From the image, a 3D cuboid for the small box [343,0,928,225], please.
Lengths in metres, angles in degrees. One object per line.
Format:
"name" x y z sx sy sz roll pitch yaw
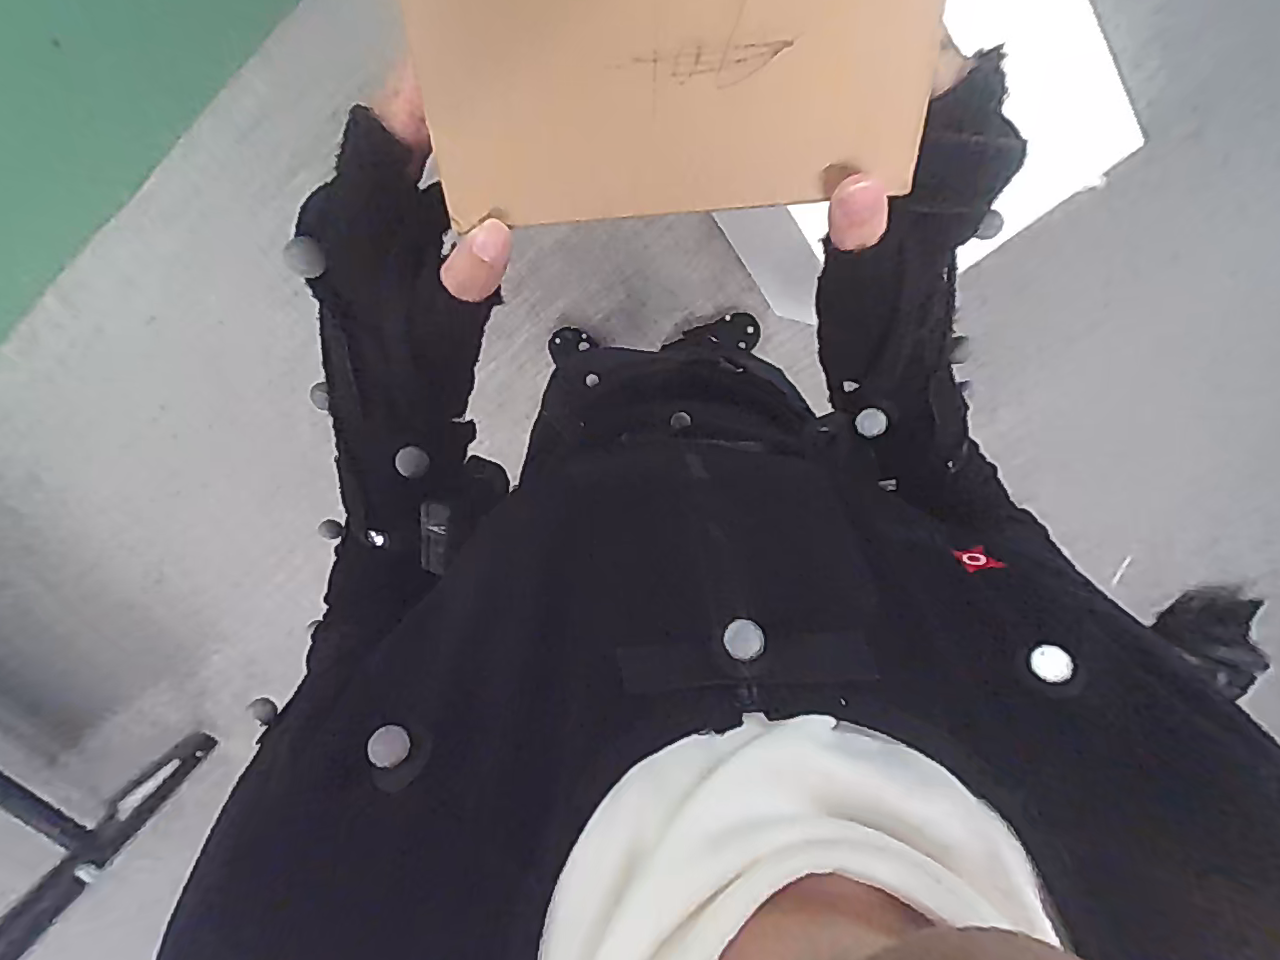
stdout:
"small box" -0.006 -0.207 0.199 0.168 0.176 0.179 -5 124 1
